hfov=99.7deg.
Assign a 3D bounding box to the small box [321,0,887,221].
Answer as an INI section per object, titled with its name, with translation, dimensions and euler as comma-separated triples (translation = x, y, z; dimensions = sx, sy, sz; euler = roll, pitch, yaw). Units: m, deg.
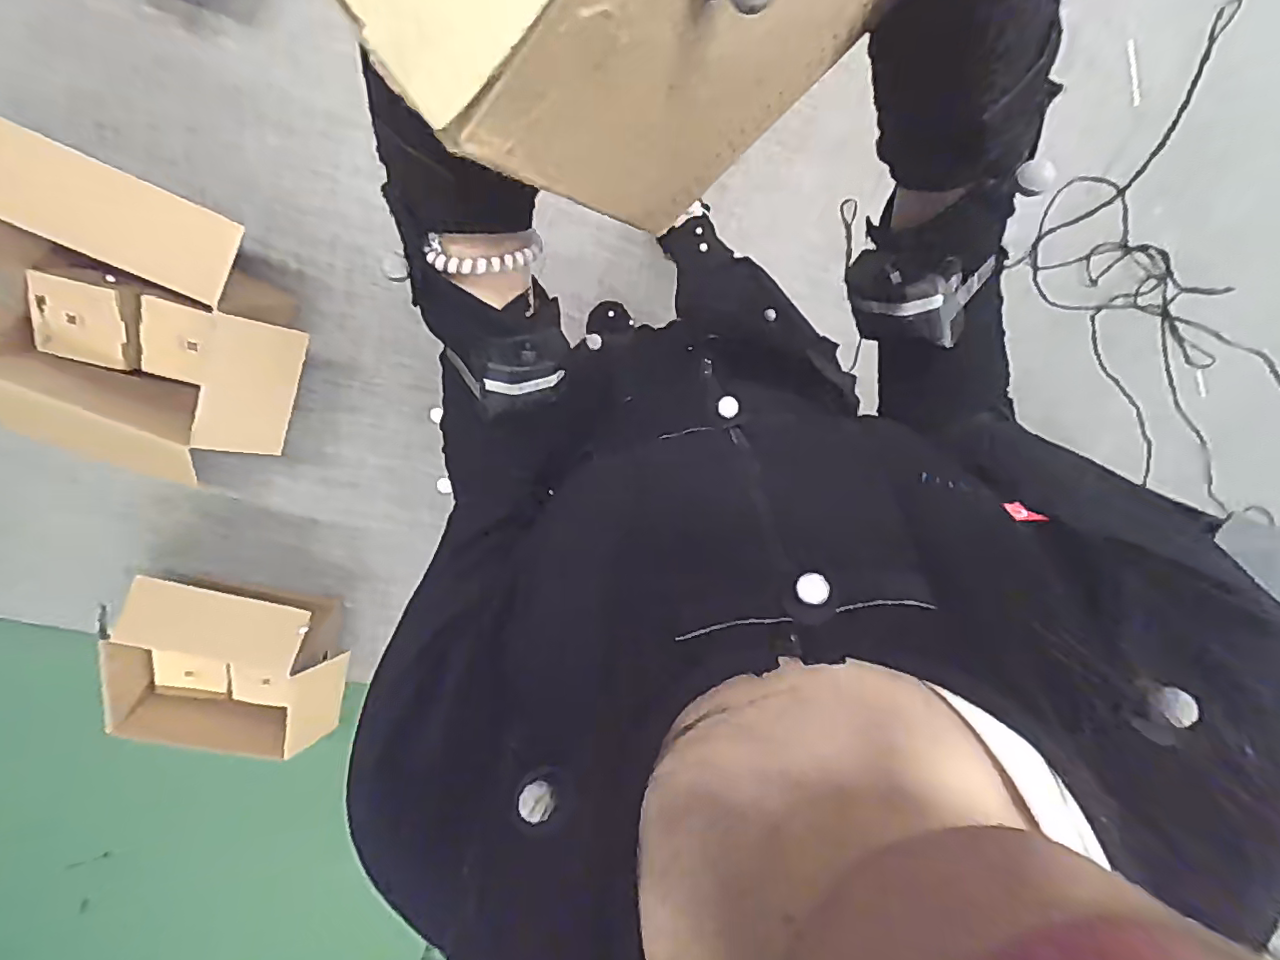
[small box]
translation = -0.008, -0.214, 0.172
dimensions = 0.179, 0.176, 0.168
euler = -37, 91, 26
